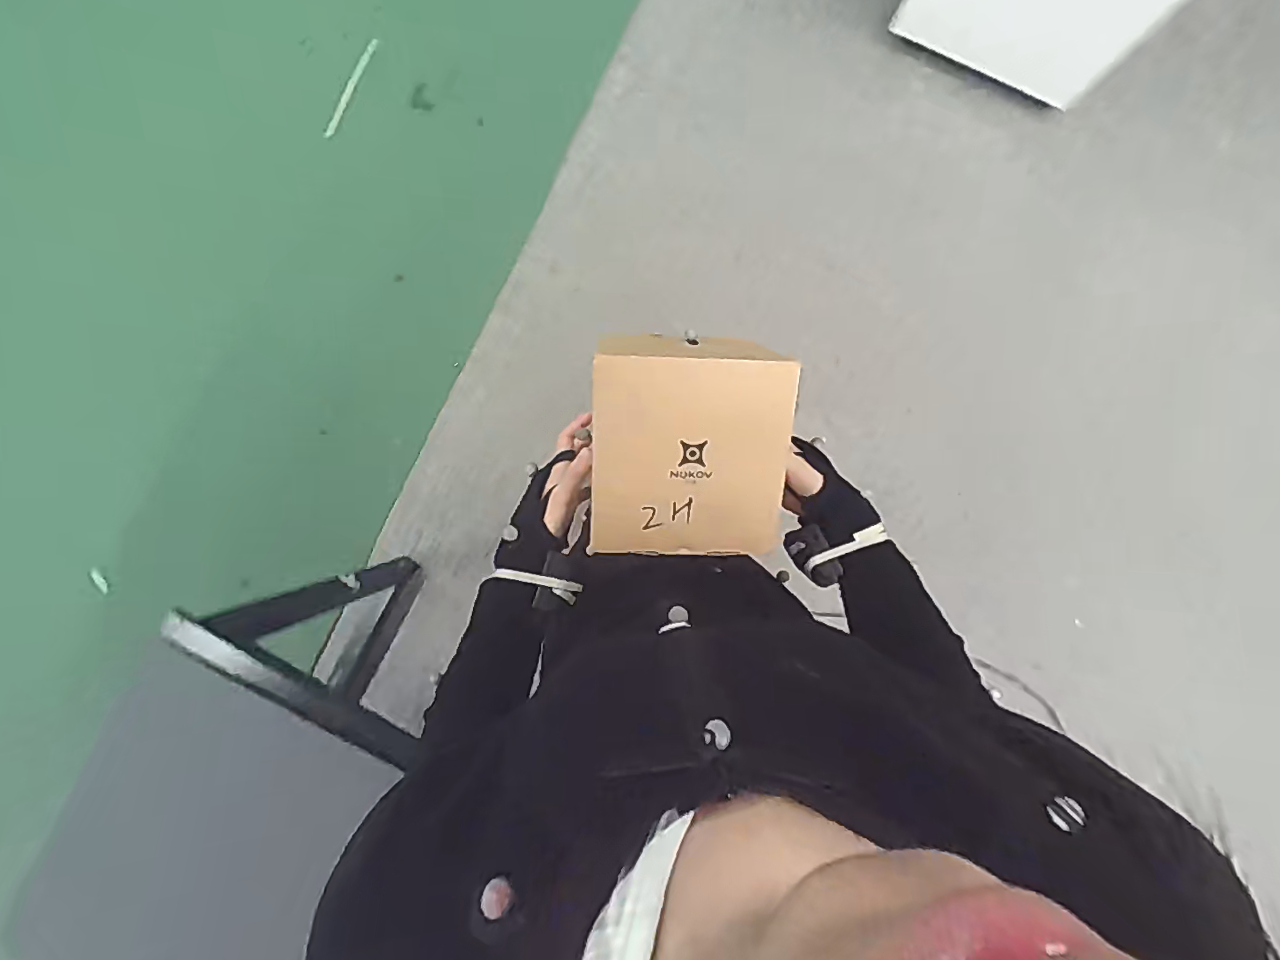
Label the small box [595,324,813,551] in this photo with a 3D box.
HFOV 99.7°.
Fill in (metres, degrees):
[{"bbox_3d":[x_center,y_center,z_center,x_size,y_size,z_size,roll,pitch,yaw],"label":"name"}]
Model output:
[{"bbox_3d":[0.044,-0.050,0.509,0.168,0.176,0.179,2,110,-3],"label":"small box"}]
